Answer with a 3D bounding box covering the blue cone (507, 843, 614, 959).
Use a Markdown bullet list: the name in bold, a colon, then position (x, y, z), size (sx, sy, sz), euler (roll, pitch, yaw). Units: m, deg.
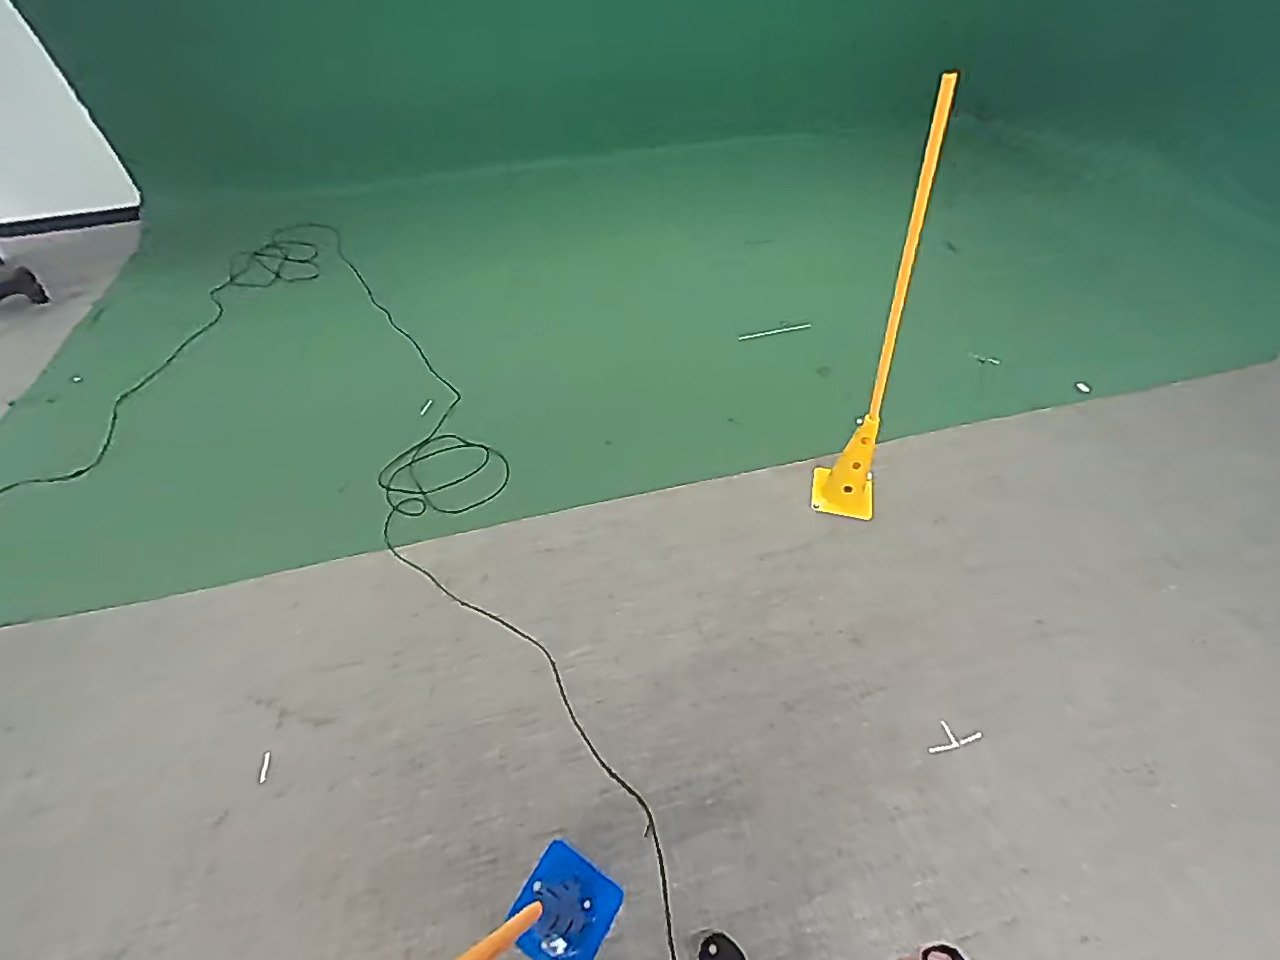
- **blue cone**: position (-0.171, 0.814, 1.019), size (0.192, 0.380, 0.193), euler (24, 57, 19)
